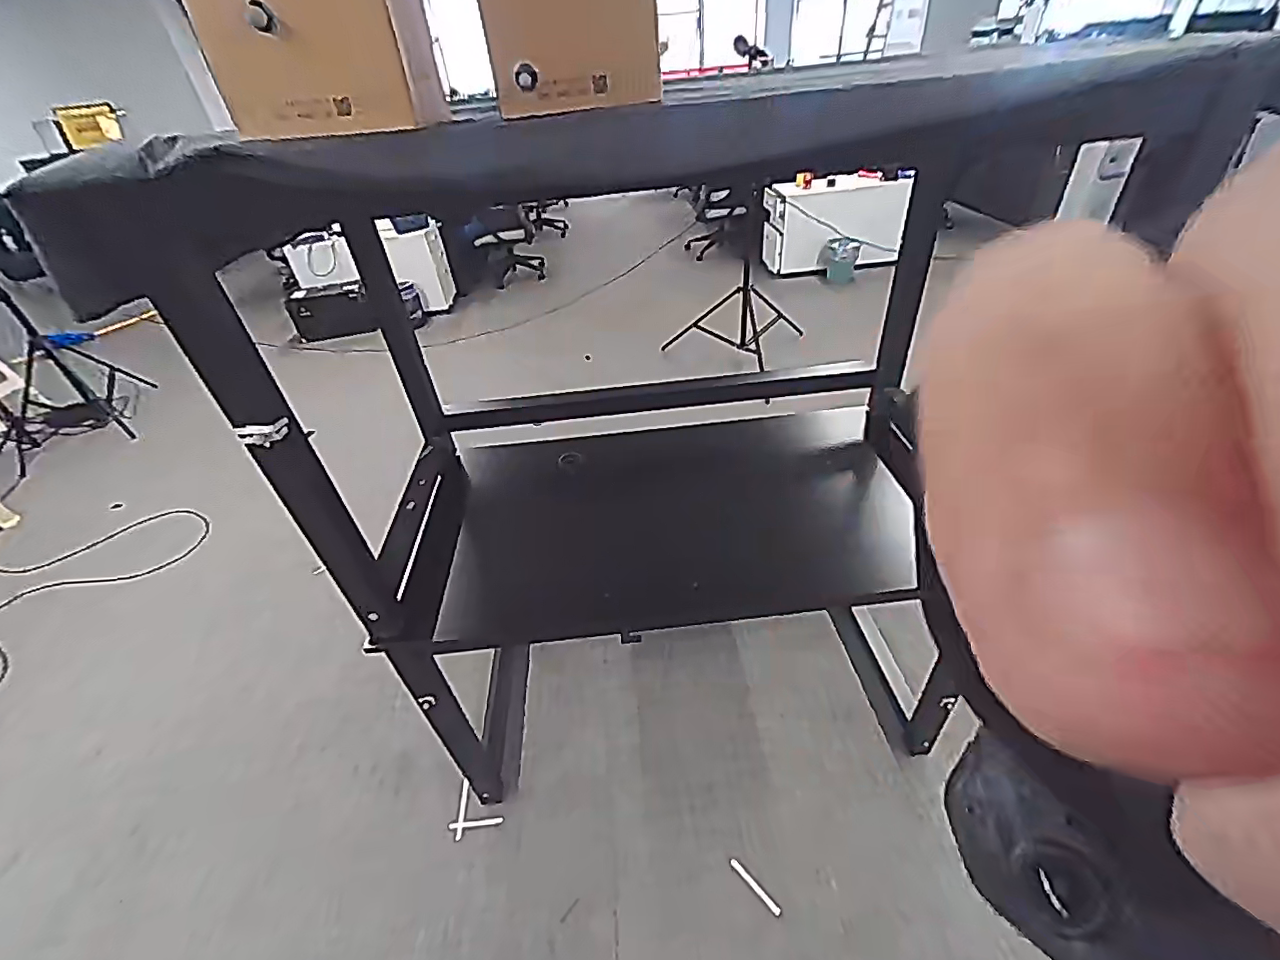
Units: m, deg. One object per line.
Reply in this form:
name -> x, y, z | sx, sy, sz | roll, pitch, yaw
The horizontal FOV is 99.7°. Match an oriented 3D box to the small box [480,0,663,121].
small box -> -0.067, -0.483, 0.561 | 0.168, 0.176, 0.179 | -5, 35, 1

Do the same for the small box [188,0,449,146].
small box -> -0.305, -0.439, 0.538 | 0.168, 0.176, 0.179 | -6, 36, -2
